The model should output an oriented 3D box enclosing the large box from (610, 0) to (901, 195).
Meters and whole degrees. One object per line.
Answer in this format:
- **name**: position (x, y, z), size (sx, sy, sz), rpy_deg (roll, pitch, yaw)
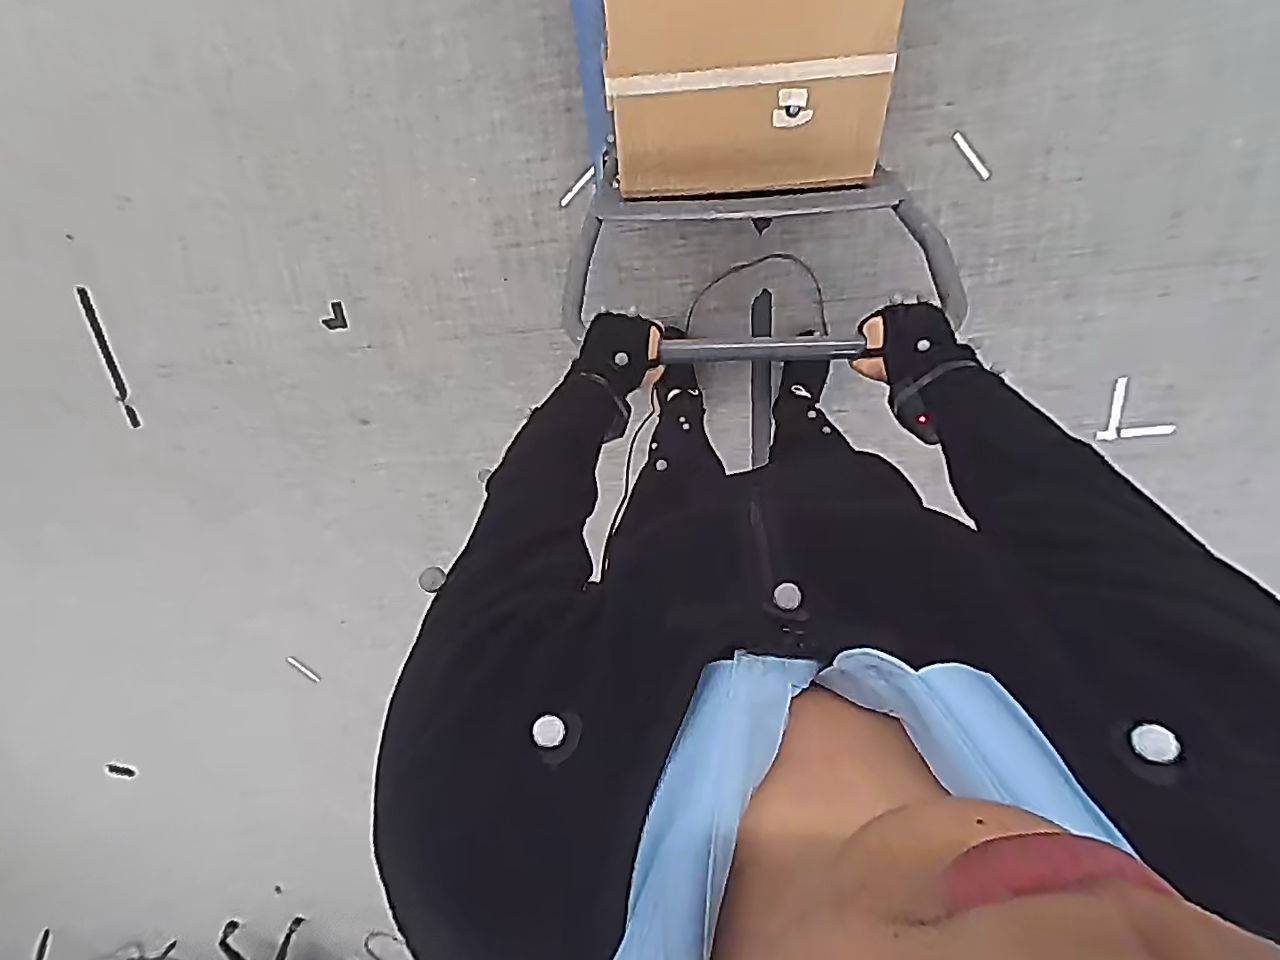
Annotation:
- **large box**: position (0.171, -0.700, 0.907), size (0.408, 0.320, 0.320), rpy_deg (-1, 131, 5)
